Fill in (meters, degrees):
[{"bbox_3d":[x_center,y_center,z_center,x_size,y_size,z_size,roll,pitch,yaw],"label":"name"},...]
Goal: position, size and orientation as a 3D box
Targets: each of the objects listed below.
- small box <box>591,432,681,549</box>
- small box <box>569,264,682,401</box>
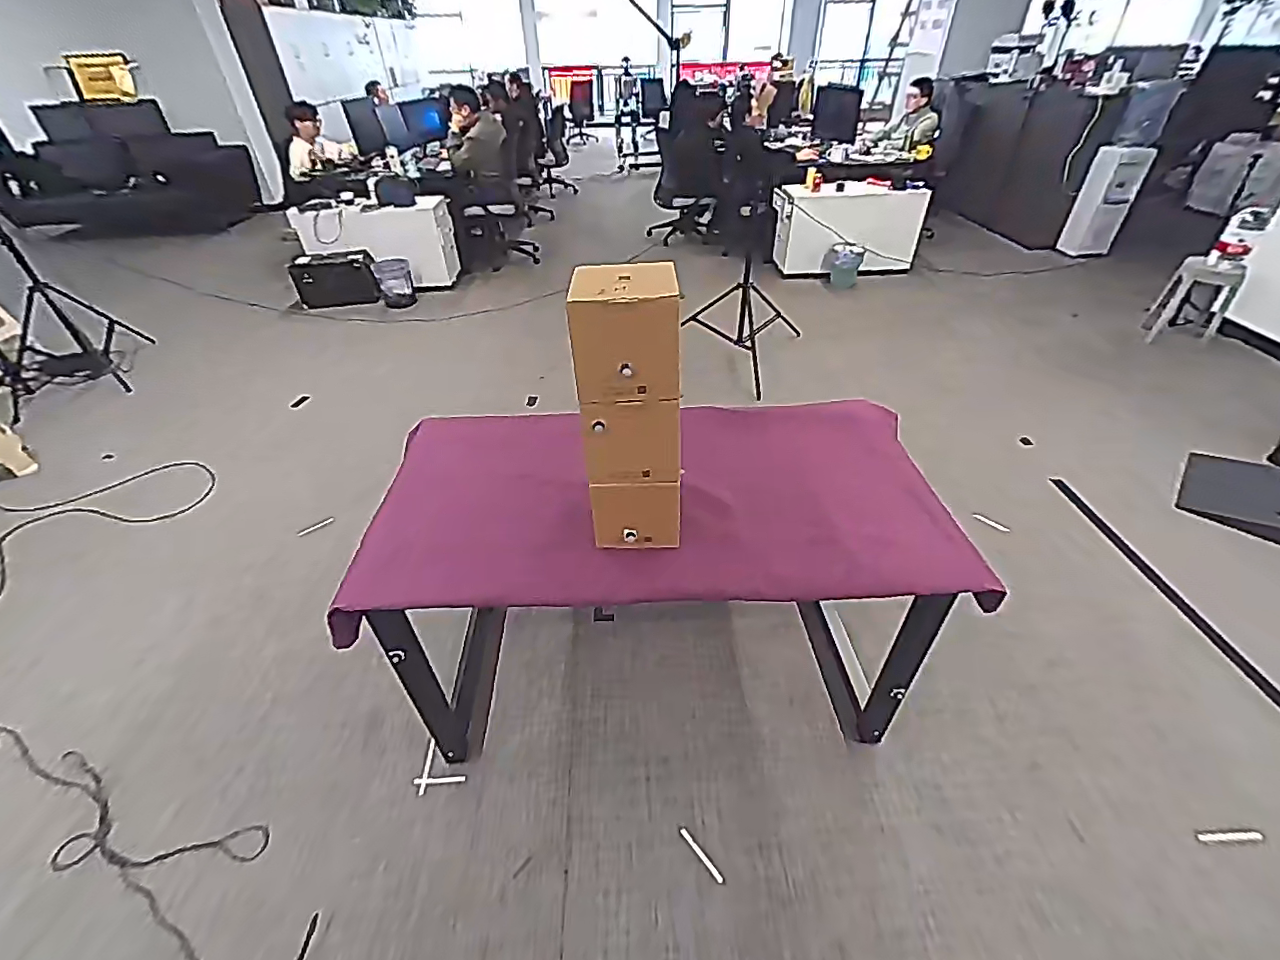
[{"bbox_3d":[-0.005,0.020,1.090,0.168,0.176,0.179,-2,39,1],"label":"small box"},{"bbox_3d":[-0.019,-0.245,0.893,0.168,0.176,0.179,-3,37,1],"label":"small box"}]
